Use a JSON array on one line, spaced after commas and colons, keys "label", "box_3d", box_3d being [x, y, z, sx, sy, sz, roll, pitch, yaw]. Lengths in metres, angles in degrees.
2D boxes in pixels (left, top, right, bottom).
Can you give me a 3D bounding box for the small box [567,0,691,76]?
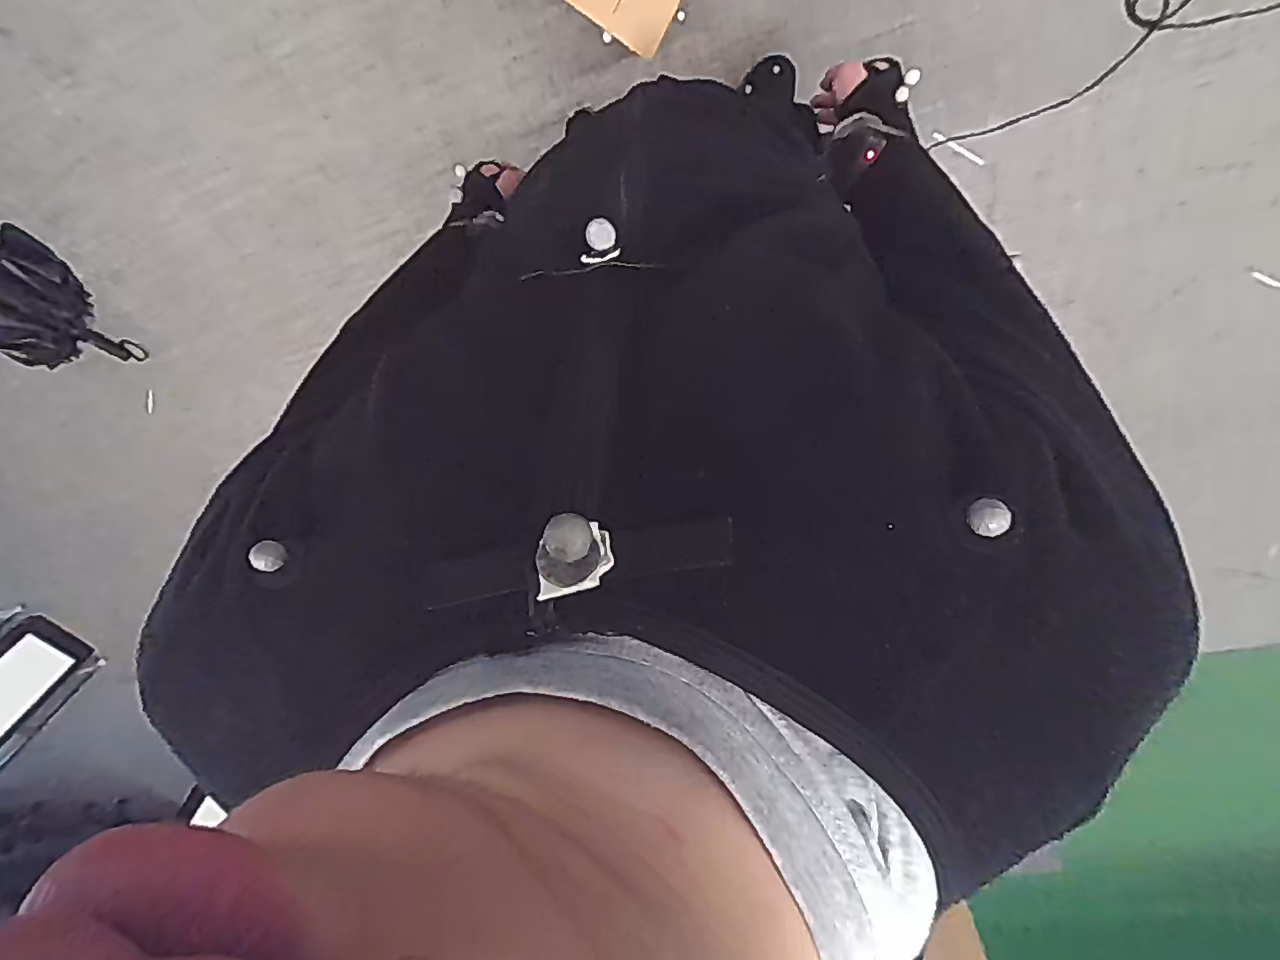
[{"label": "small box", "box_3d": [-0.003, -0.819, 0.901, 0.168, 0.176, 0.179, 27, 125, -16]}]
